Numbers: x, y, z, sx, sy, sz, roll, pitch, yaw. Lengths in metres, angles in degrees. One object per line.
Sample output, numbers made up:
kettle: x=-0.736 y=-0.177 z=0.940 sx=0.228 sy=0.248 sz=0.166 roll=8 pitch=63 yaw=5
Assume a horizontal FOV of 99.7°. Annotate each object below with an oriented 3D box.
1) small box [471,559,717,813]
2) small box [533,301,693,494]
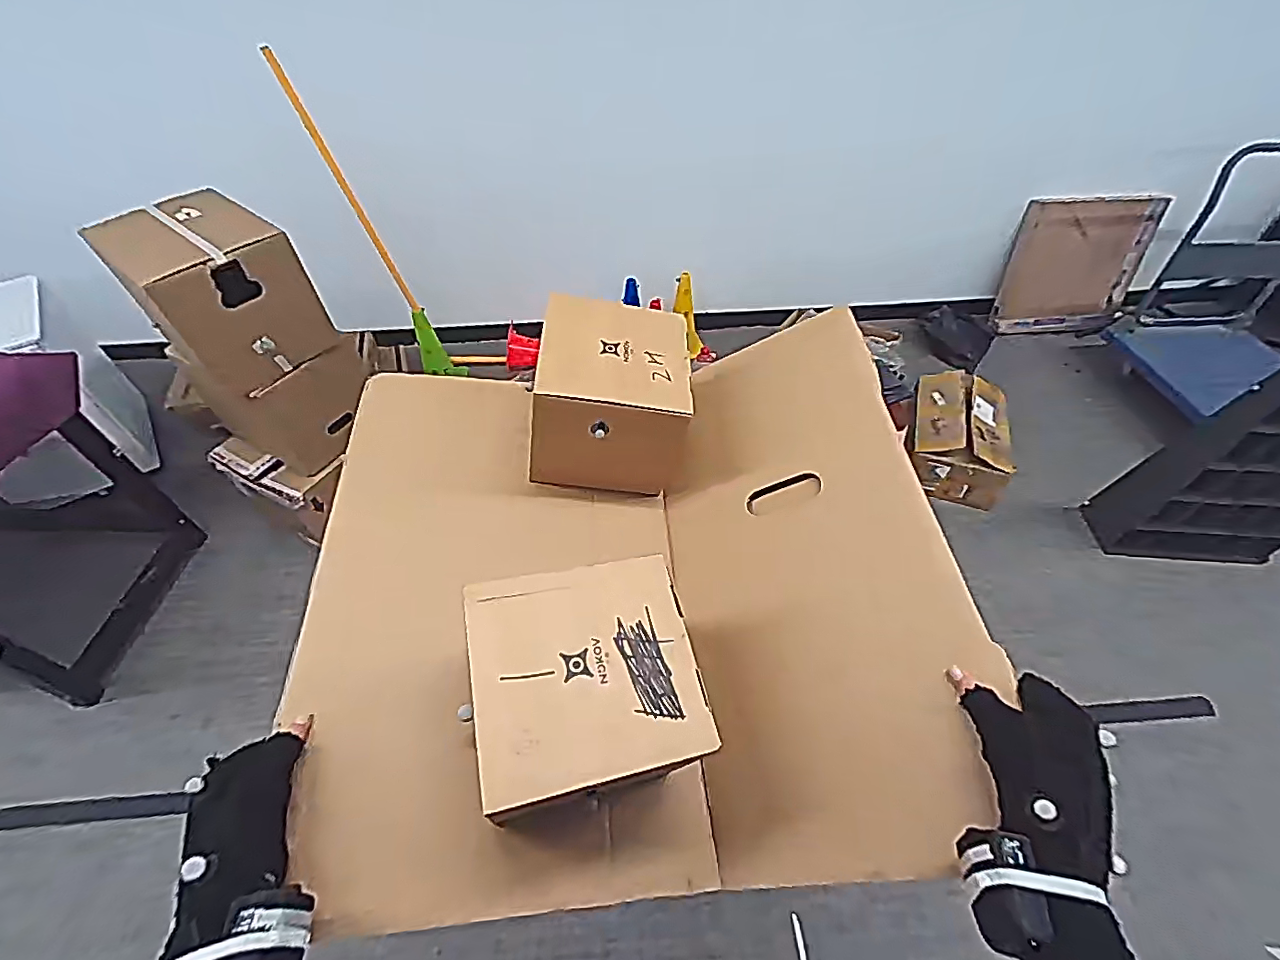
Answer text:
small box: x=-0.055 y=0.190 z=0.496 sx=0.179 sy=0.176 sz=0.168 roll=-6 pitch=59 yaw=-17
small box: x=-0.039 y=-0.097 z=0.693 sx=0.179 sy=0.176 sz=0.168 roll=8 pitch=56 yaw=-9
